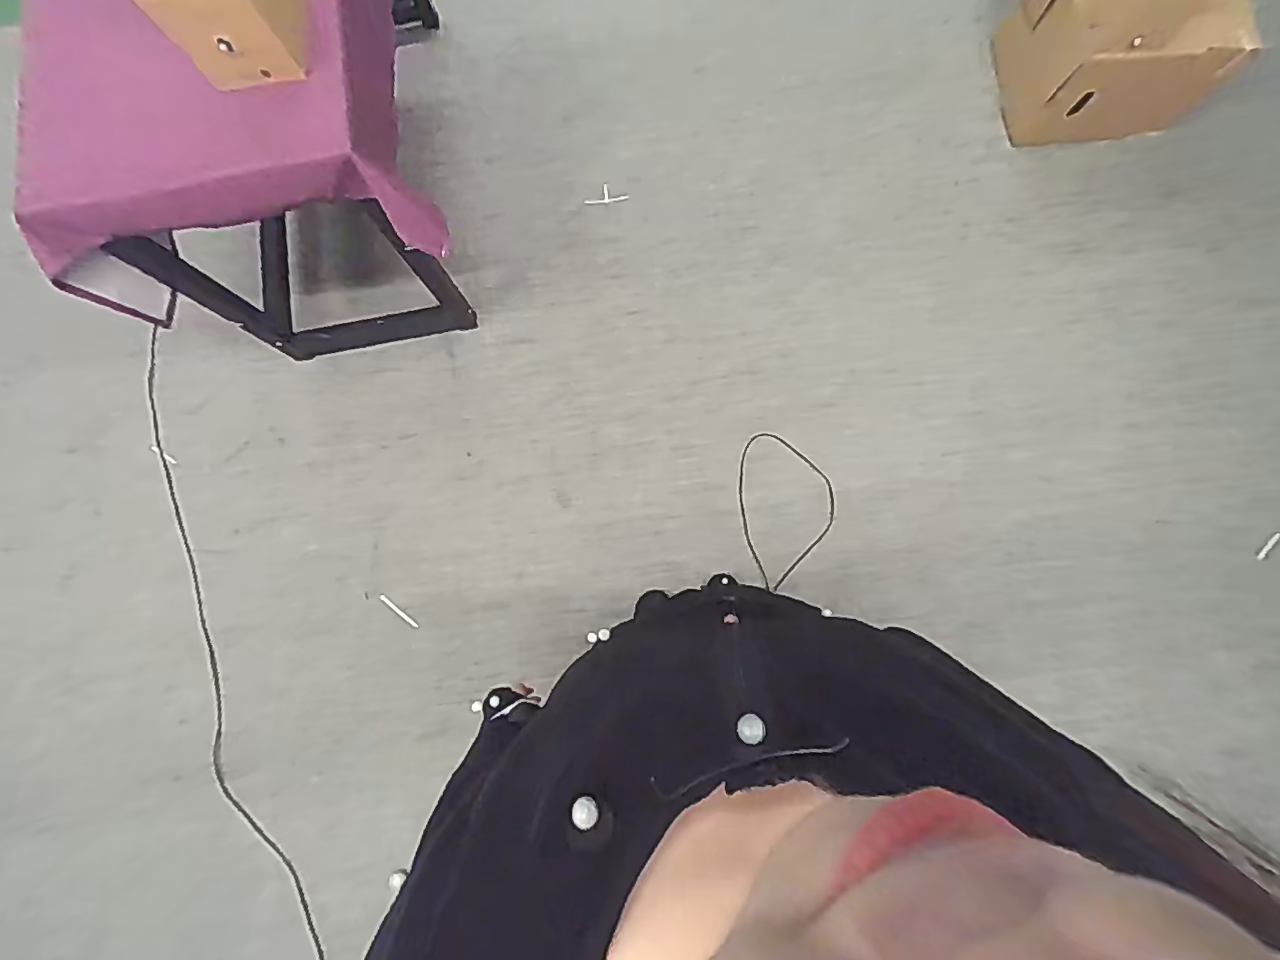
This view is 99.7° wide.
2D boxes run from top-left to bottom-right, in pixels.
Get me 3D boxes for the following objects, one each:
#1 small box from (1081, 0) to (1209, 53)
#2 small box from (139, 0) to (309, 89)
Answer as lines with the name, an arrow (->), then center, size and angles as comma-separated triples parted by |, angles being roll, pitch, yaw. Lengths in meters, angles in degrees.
small box -> 1.246, -1.194, 1.331 | 0.179, 0.176, 0.168 | -1, 80, 0
small box -> -0.691, -0.803, 0.917 | 0.168, 0.176, 0.179 | -7, 79, 1
